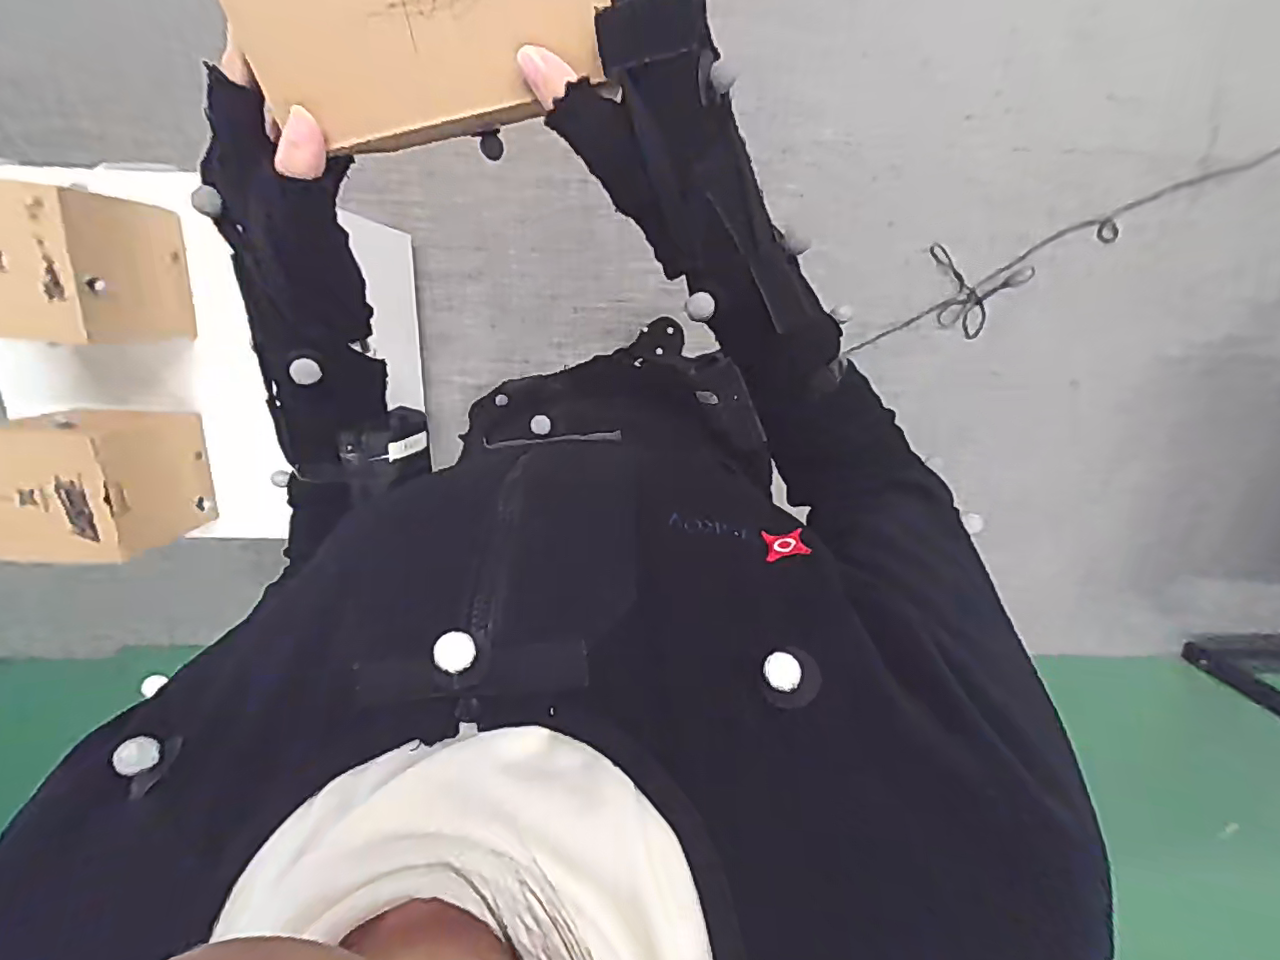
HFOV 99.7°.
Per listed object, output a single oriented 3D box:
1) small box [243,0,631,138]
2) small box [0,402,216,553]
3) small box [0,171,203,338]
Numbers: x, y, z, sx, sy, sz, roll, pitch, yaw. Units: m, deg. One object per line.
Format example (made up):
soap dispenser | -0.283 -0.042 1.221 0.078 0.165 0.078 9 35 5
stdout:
small box | -0.102 -0.294 0.282 0.168 0.176 0.179 -10 123 4
small box | -0.722 -0.011 0.735 0.179 0.176 0.168 2 106 -1
small box | -0.690 -0.267 0.657 0.179 0.176 0.168 5 108 -2
